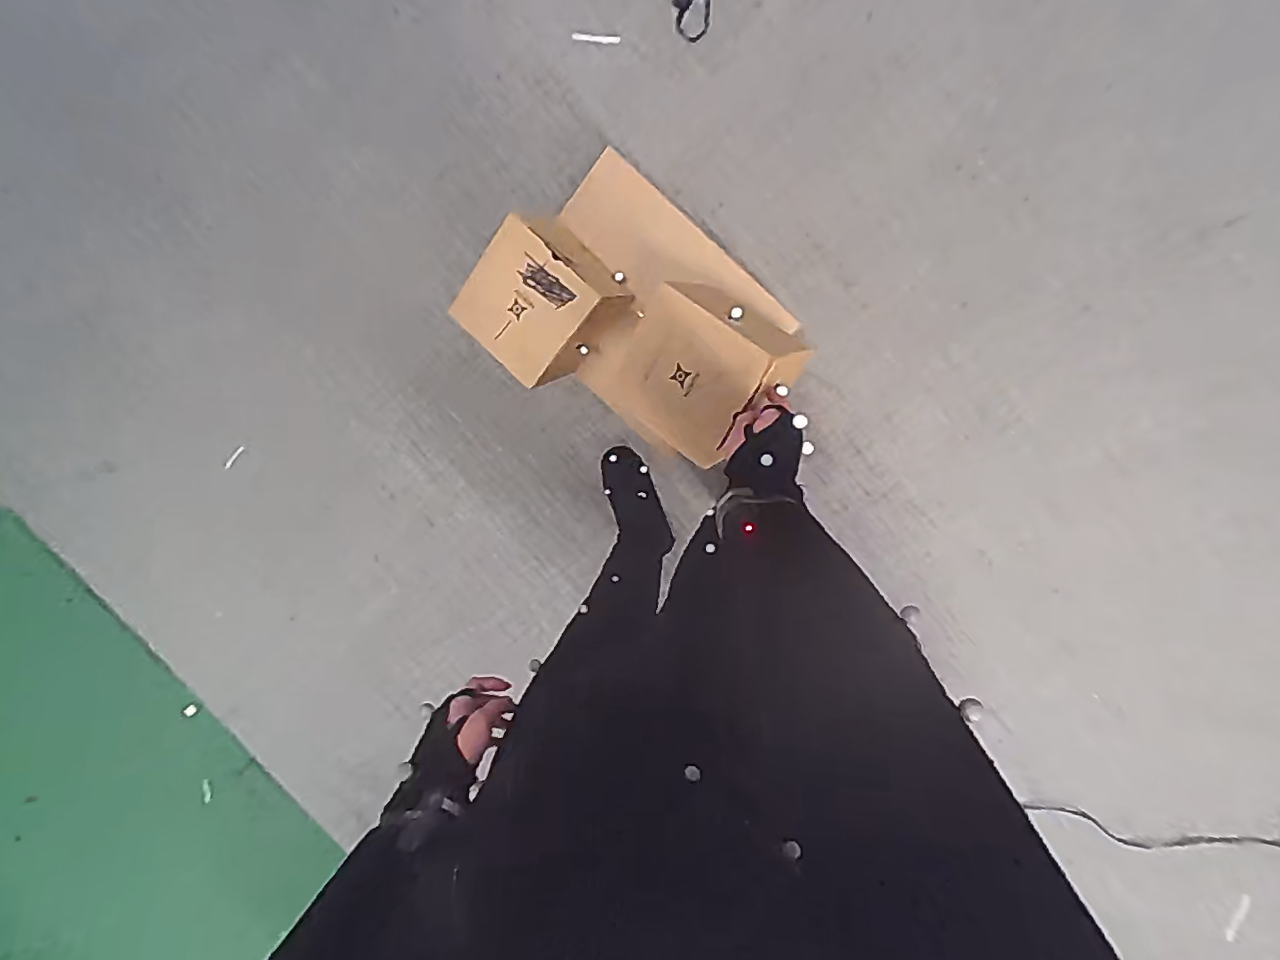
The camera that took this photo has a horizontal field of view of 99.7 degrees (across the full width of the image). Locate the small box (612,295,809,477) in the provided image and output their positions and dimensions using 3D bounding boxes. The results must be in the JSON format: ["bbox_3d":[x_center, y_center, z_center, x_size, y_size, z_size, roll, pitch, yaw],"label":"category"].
[{"bbox_3d":[0.100,-0.134,0.734,0.179,0.176,0.168,39,120,18],"label":"small box"}]

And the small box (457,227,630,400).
[{"bbox_3d":[-0.134,-0.253,0.828,0.168,0.176,0.179,44,115,-1],"label":"small box"}]
